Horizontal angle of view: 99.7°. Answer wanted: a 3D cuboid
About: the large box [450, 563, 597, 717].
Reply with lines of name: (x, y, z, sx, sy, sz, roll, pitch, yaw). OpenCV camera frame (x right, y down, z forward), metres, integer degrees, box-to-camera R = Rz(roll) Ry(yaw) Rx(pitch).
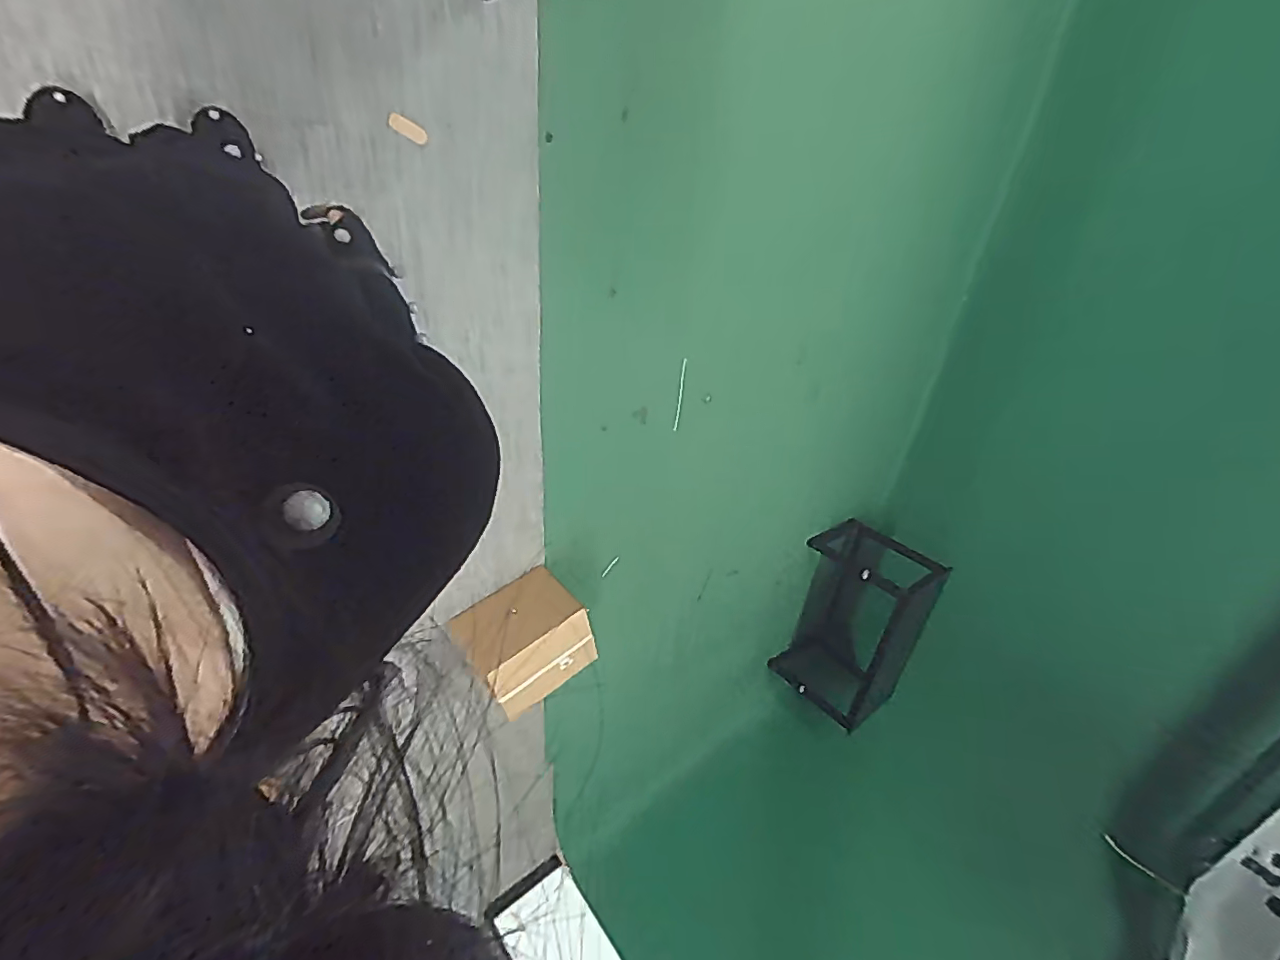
large box: (-0.434, 0.593, 2.053, 0.408, 0.320, 0.320, -31, 135, -27)
